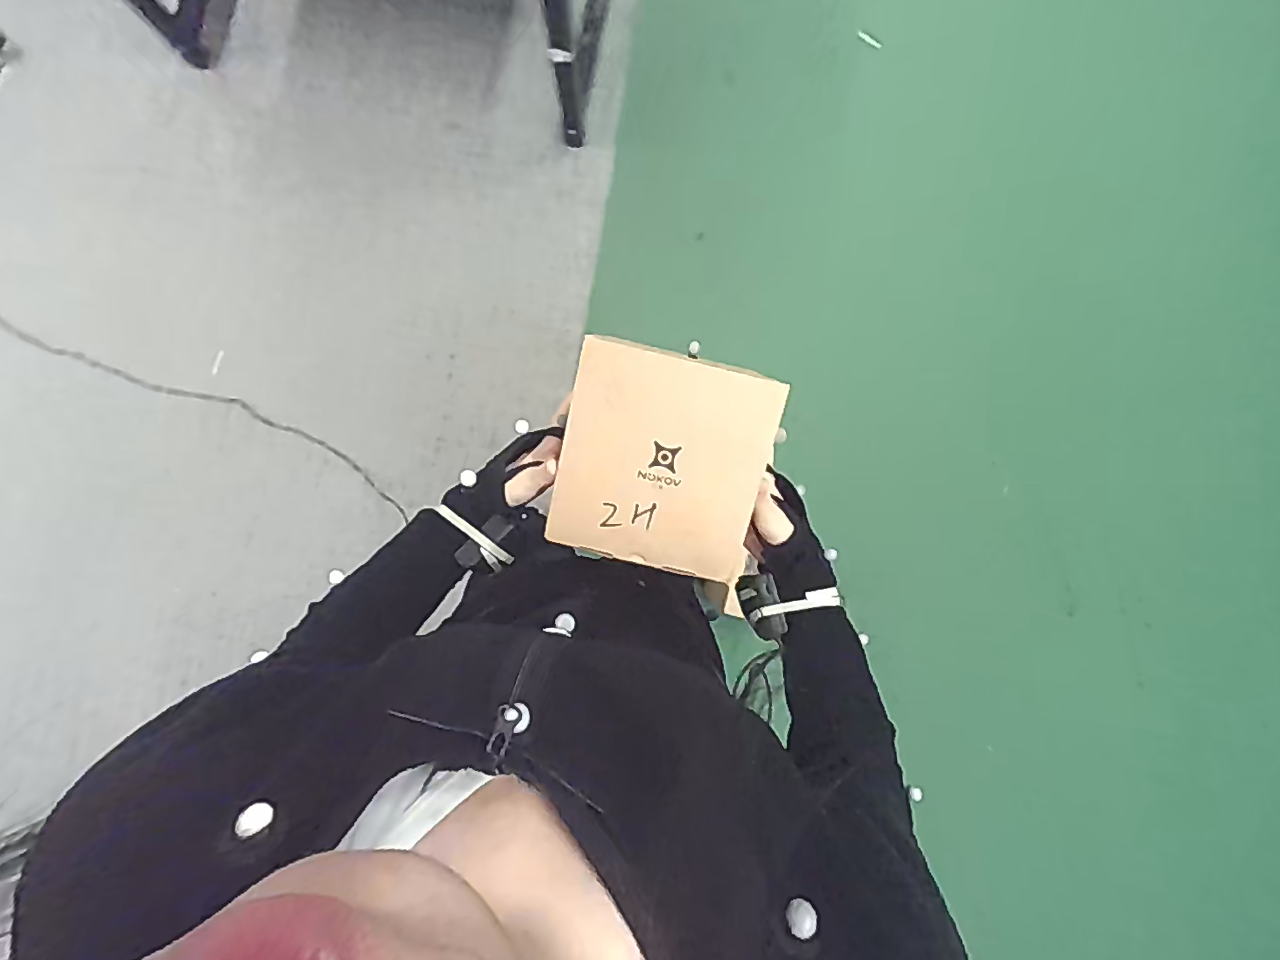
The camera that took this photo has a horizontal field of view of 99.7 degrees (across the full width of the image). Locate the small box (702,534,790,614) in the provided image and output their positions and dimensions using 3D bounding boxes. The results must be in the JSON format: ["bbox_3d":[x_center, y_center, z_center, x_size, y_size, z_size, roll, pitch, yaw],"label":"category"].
[{"bbox_3d":[0.275,0.240,1.429,0.179,0.176,0.168,12,86,0],"label":"small box"}]
